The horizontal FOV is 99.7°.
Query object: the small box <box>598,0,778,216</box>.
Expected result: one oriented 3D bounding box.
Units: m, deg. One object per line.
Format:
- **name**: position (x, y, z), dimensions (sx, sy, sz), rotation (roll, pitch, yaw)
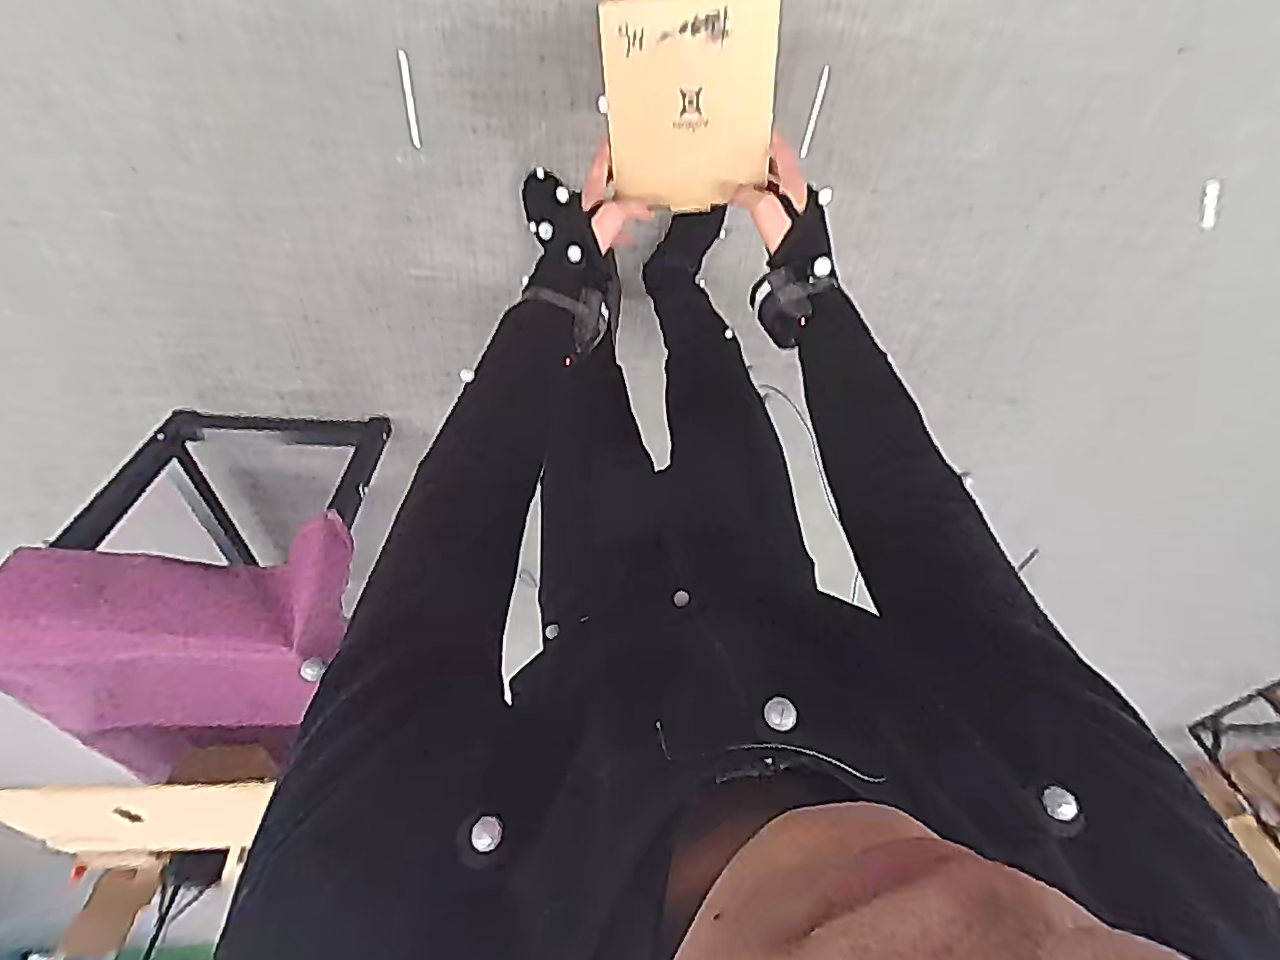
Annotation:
- **small box**: position (0.048, -0.414, 0.600), dimensions (0.168, 0.176, 0.179), rotation (-3, 131, 2)
